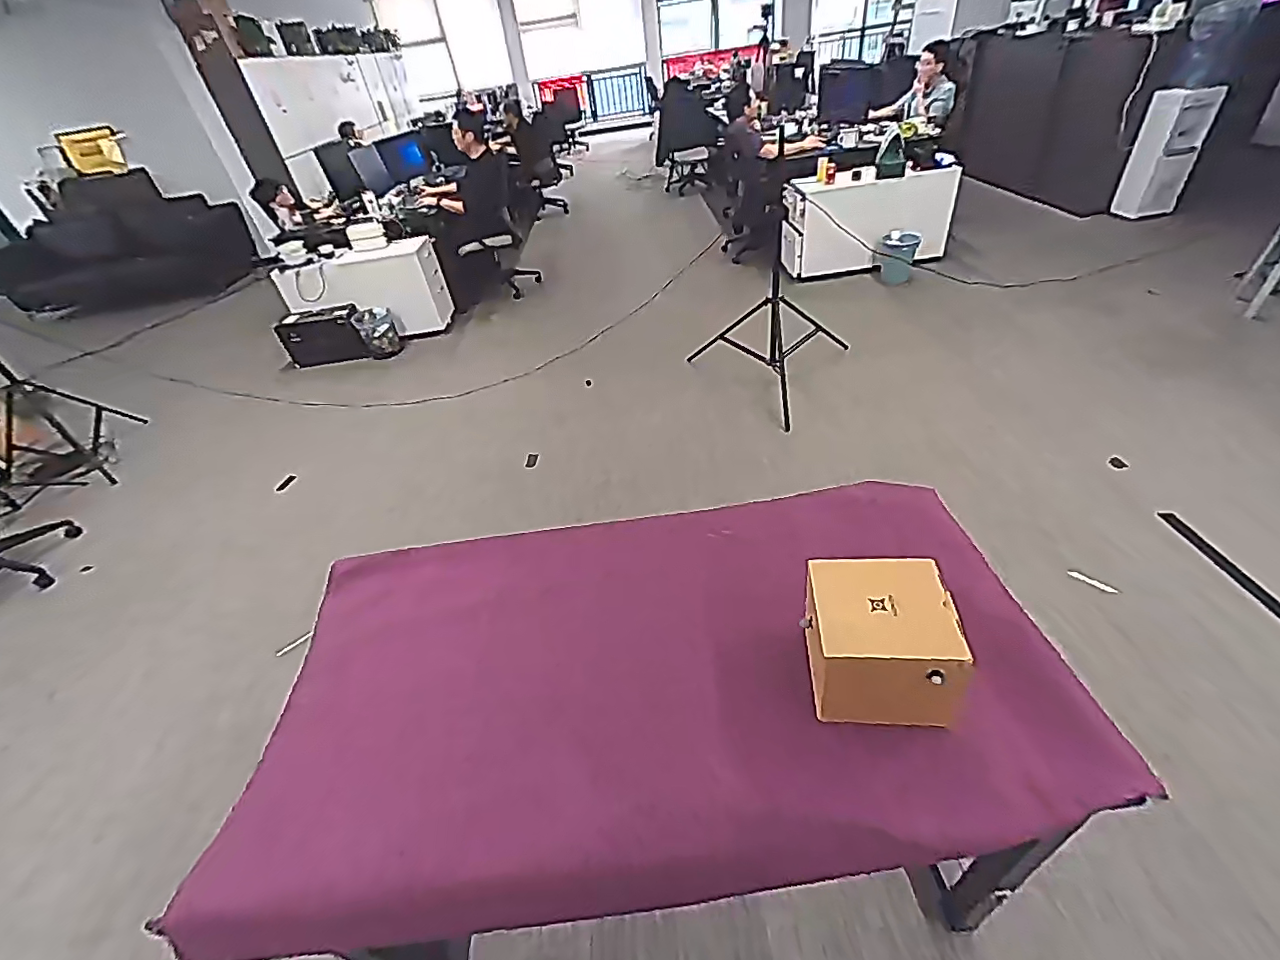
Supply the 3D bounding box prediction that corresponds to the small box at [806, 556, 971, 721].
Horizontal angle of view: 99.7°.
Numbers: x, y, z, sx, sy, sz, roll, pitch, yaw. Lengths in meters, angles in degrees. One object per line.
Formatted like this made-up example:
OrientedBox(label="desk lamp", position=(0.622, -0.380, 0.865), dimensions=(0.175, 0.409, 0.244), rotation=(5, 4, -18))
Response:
OrientedBox(label="small box", position=(0.337, 0.228, 0.776), dimensions=(0.179, 0.176, 0.168), rotation=(-3, 39, 10))
